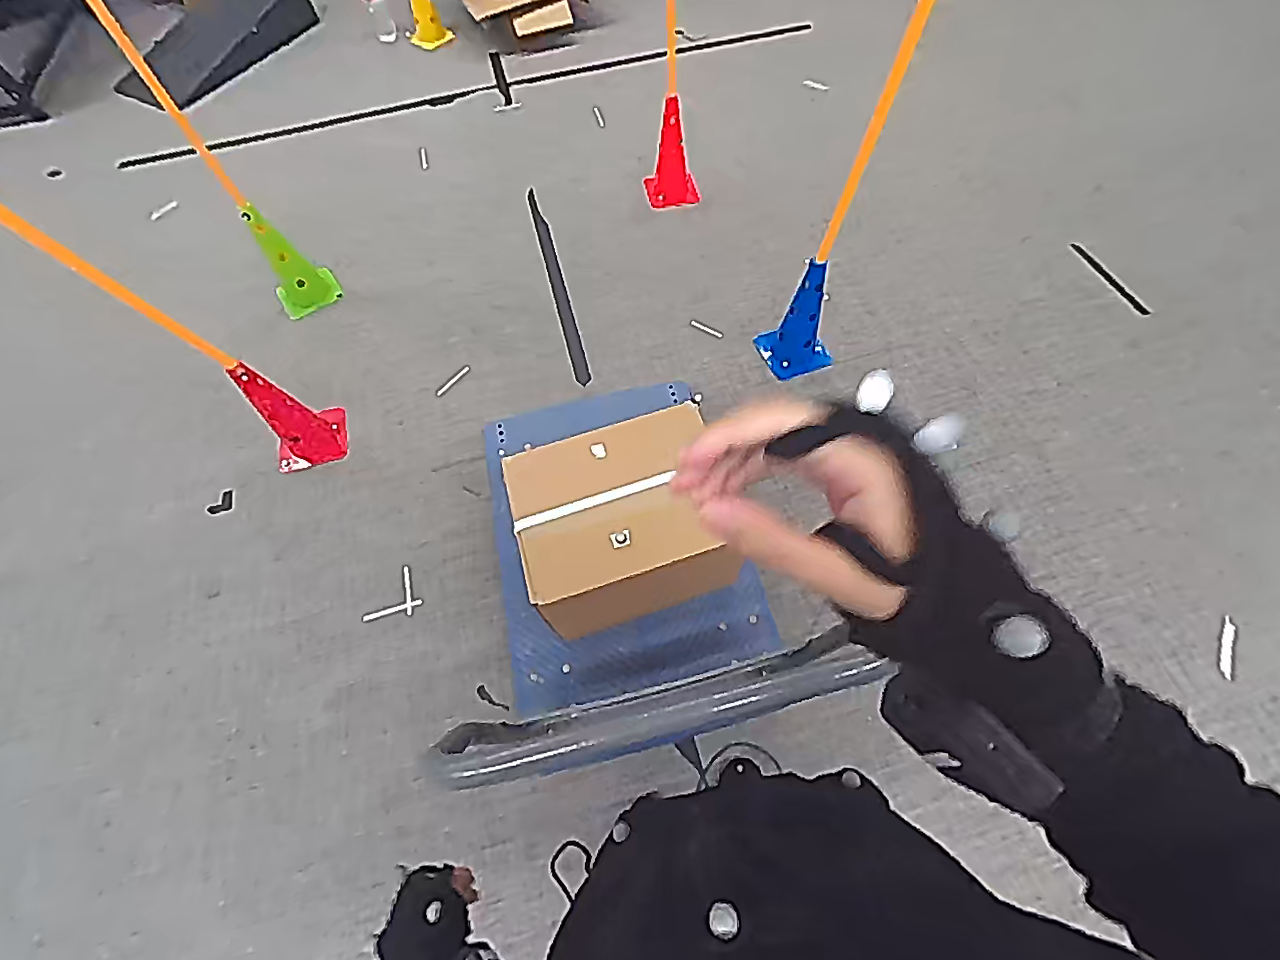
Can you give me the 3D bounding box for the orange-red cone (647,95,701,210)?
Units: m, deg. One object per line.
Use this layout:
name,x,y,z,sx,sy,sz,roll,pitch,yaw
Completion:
orange-red cone,0.127,-1.237,2.019,0.199,0.360,0.198,-9,63,-3

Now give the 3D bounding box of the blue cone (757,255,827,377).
blue cone,0.493,-0.501,1.626,0.193,0.380,0.192,-18,62,-7
